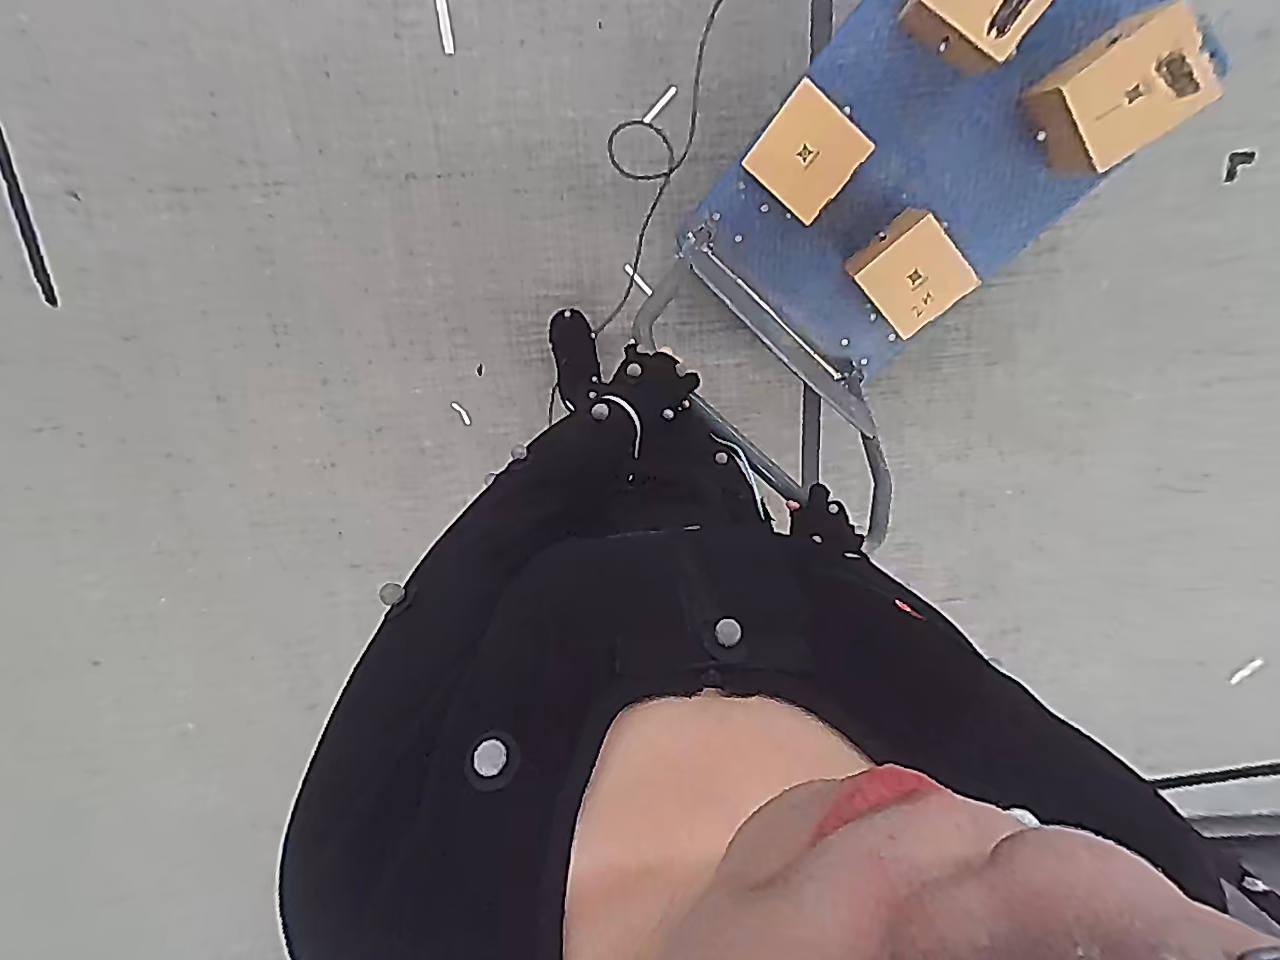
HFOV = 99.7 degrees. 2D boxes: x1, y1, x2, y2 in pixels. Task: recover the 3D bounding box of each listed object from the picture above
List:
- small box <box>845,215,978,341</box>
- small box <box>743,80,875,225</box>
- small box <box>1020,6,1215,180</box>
[{"bbox_3d":[0.550,-0.423,1.123,0.168,0.176,0.179,-38,106,27],"label":"small box"},{"bbox_3d":[0.318,-0.629,1.055,0.179,0.176,0.168,37,119,-12],"label":"small box"},{"bbox_3d":[0.814,-0.656,0.940,0.179,0.176,0.168,-32,109,26],"label":"small box"}]
